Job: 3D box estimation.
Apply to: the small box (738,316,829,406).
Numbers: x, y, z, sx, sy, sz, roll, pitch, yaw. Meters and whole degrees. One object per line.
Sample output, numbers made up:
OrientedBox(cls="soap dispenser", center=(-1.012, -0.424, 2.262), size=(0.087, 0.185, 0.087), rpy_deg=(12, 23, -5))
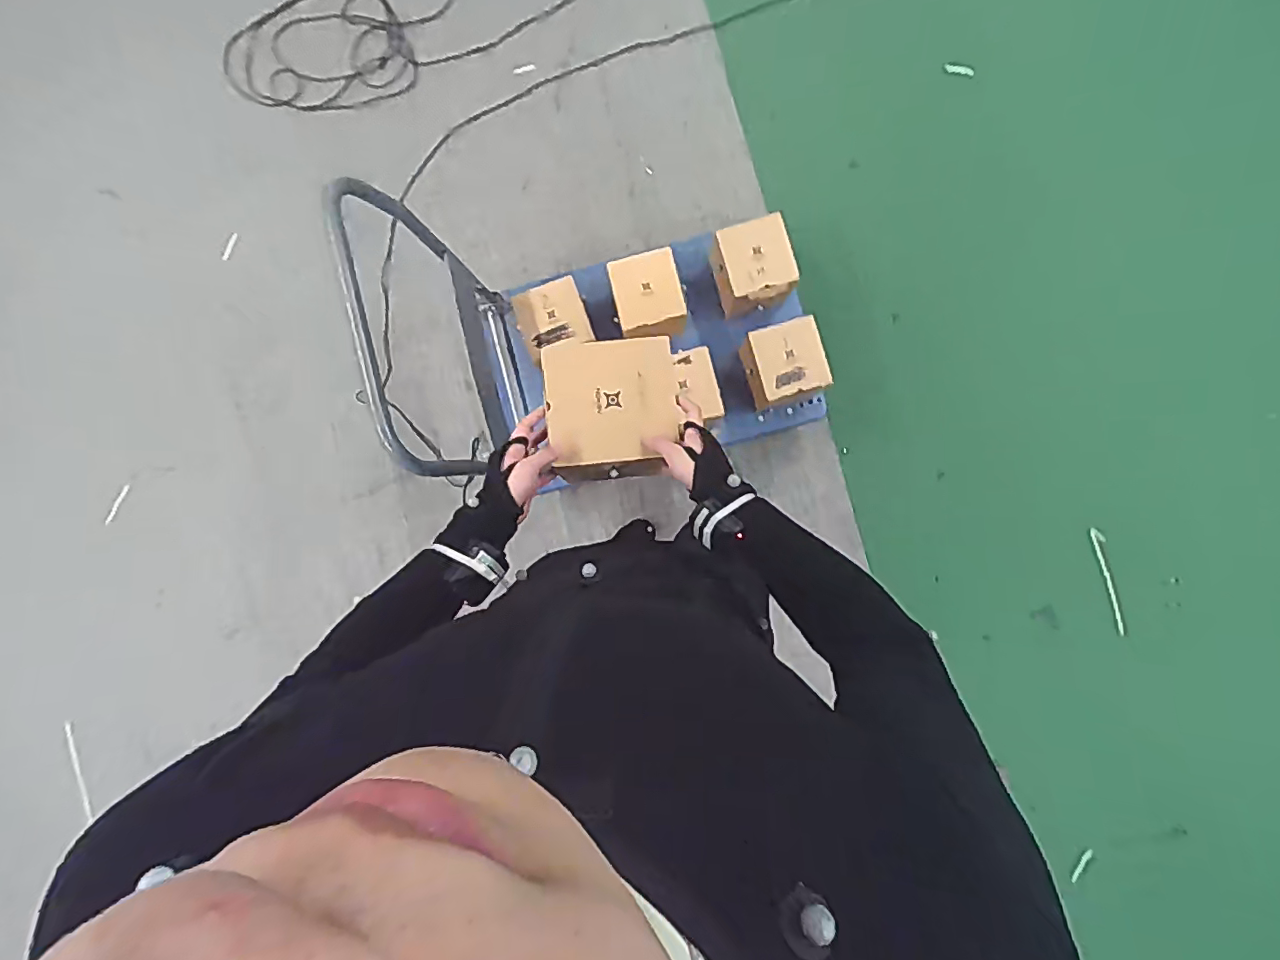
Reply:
OrientedBox(cls="small box", center=(0.365, -0.297, 1.402), size=(0.168, 0.176, 0.179), rpy_deg=(-16, 87, 1))

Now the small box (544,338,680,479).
OrientedBox(cls="small box", center=(-0.037, -0.095, 0.793), size=(0.179, 0.176, 0.168), rpy_deg=(-4, 83, 0))

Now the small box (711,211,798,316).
OrientedBox(cls="small box", center=(0.287, -0.552, 1.395), size=(0.168, 0.176, 0.179), rpy_deg=(-15, 88, 2))

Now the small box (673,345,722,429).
OrientedBox(cls="small box", center=(0.106, -0.226, 1.392), size=(0.168, 0.176, 0.179), rpy_deg=(-14, 88, 1))

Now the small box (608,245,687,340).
OrientedBox(cls="small box", center=(0.017, -0.475, 1.406), size=(0.168, 0.176, 0.179), rpy_deg=(-15, 89, 1))
